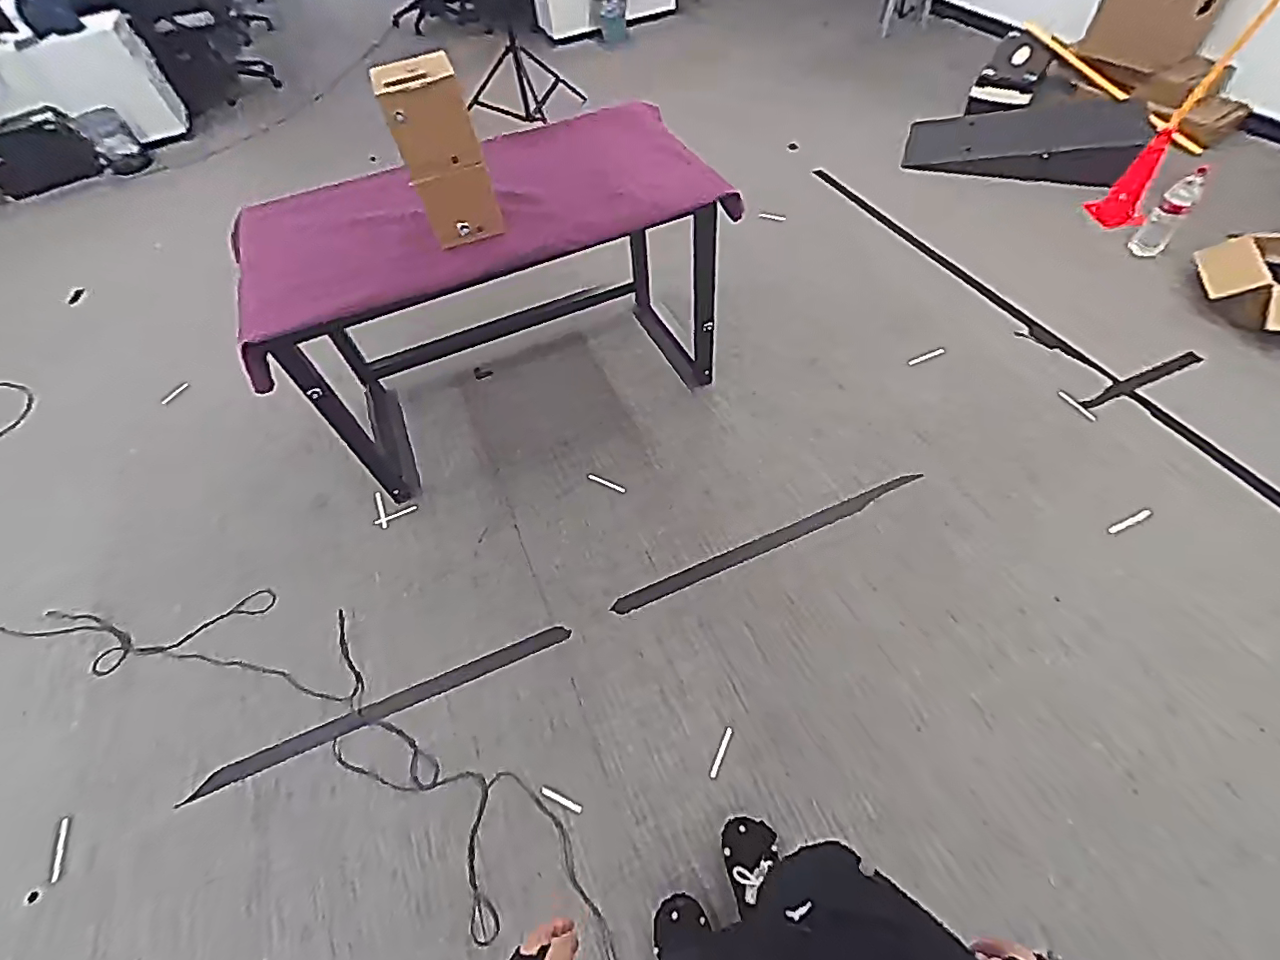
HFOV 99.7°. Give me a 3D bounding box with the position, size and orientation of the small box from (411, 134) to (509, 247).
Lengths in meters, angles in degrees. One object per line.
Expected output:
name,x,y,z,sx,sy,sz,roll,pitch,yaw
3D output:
small box,-0.436,-0.702,1.318,0.168,0.176,0.179,-21,56,-7
